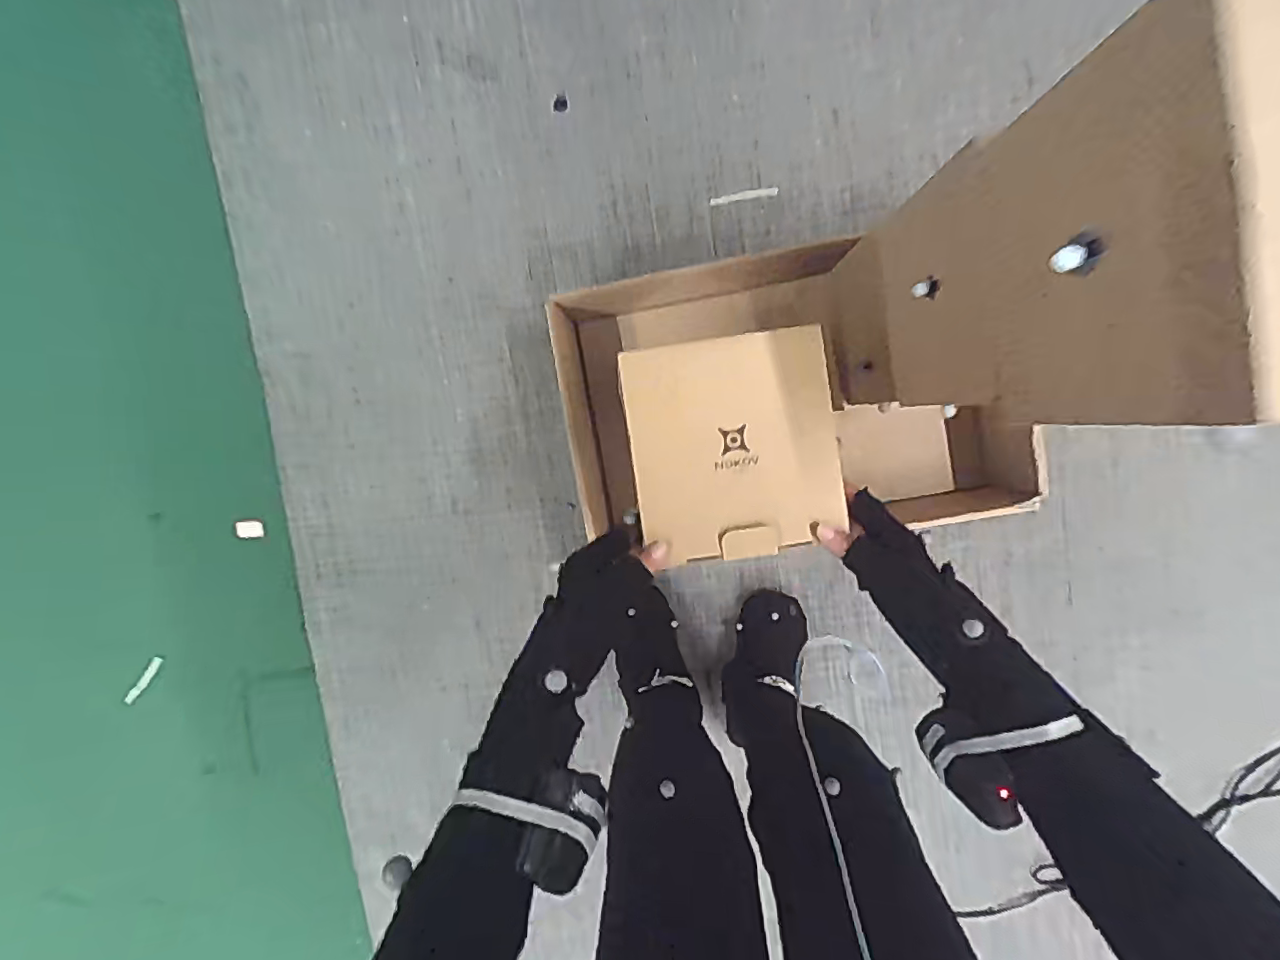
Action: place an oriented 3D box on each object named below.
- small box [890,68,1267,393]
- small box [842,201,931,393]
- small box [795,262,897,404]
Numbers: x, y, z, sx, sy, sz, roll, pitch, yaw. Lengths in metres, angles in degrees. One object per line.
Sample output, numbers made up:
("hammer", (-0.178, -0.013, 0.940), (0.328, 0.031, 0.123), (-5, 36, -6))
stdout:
("small box", (0.315, -0.166, 0.425), (0.168, 0.176, 0.179), (-9, 96, 5))
("small box", (0.327, -0.191, 0.570), (0.168, 0.176, 0.179), (-10, 96, 6))
("small box", (0.326, -0.210, 0.751), (0.168, 0.176, 0.179), (-14, 95, 7))
